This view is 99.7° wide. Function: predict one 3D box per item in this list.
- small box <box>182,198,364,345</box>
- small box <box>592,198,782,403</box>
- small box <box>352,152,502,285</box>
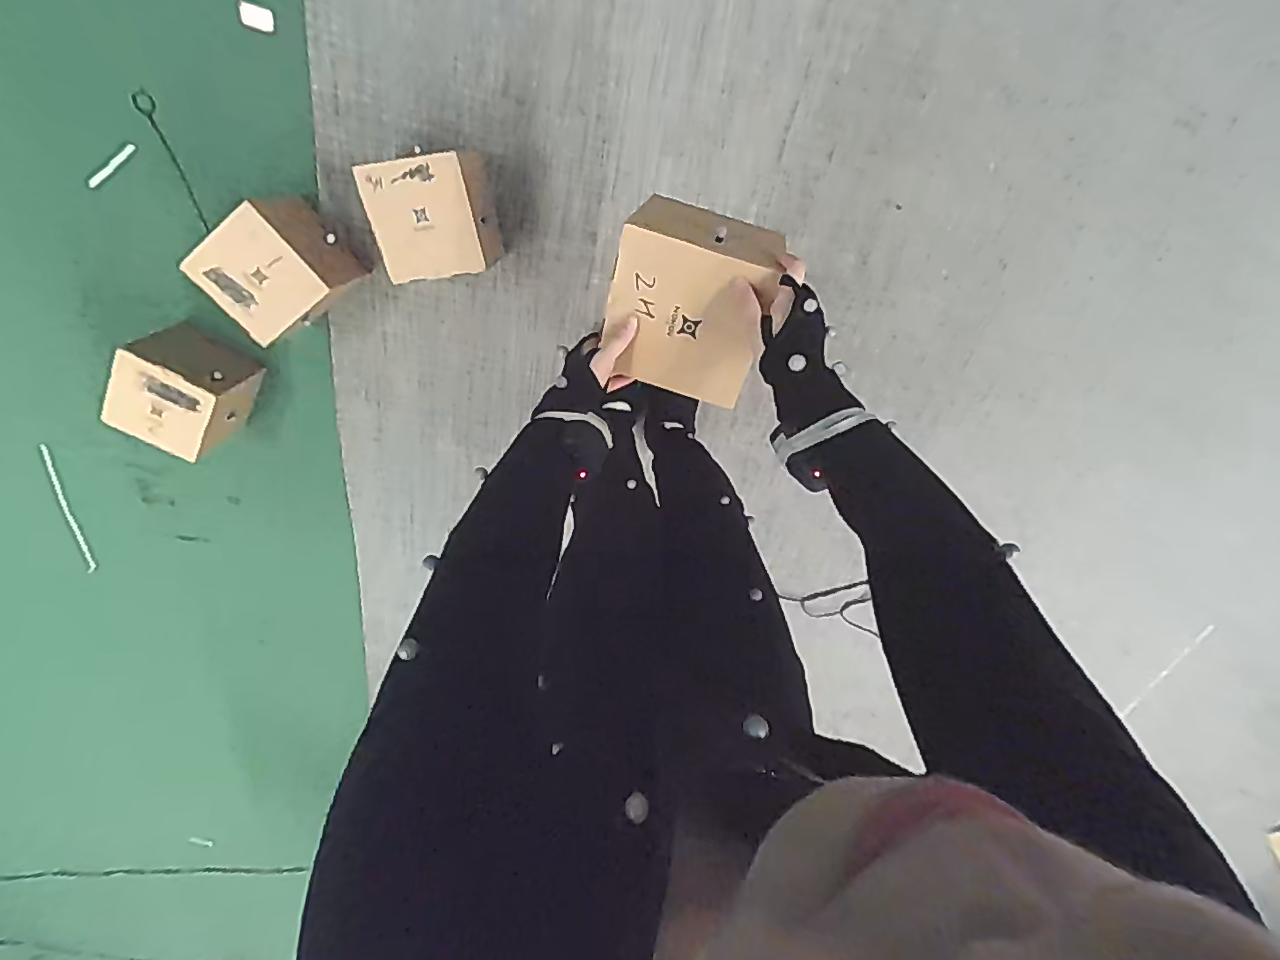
[{"bbox_3d":[-0.634,-0.373,0.960,0.179,0.176,0.168,-31,117,15],"label":"small box"},{"bbox_3d":[0.060,-0.224,0.658,0.179,0.176,0.168,18,128,1],"label":"small box"},{"bbox_3d":[-0.347,-0.450,0.924,0.168,0.176,0.179,-7,122,2],"label":"small box"}]
